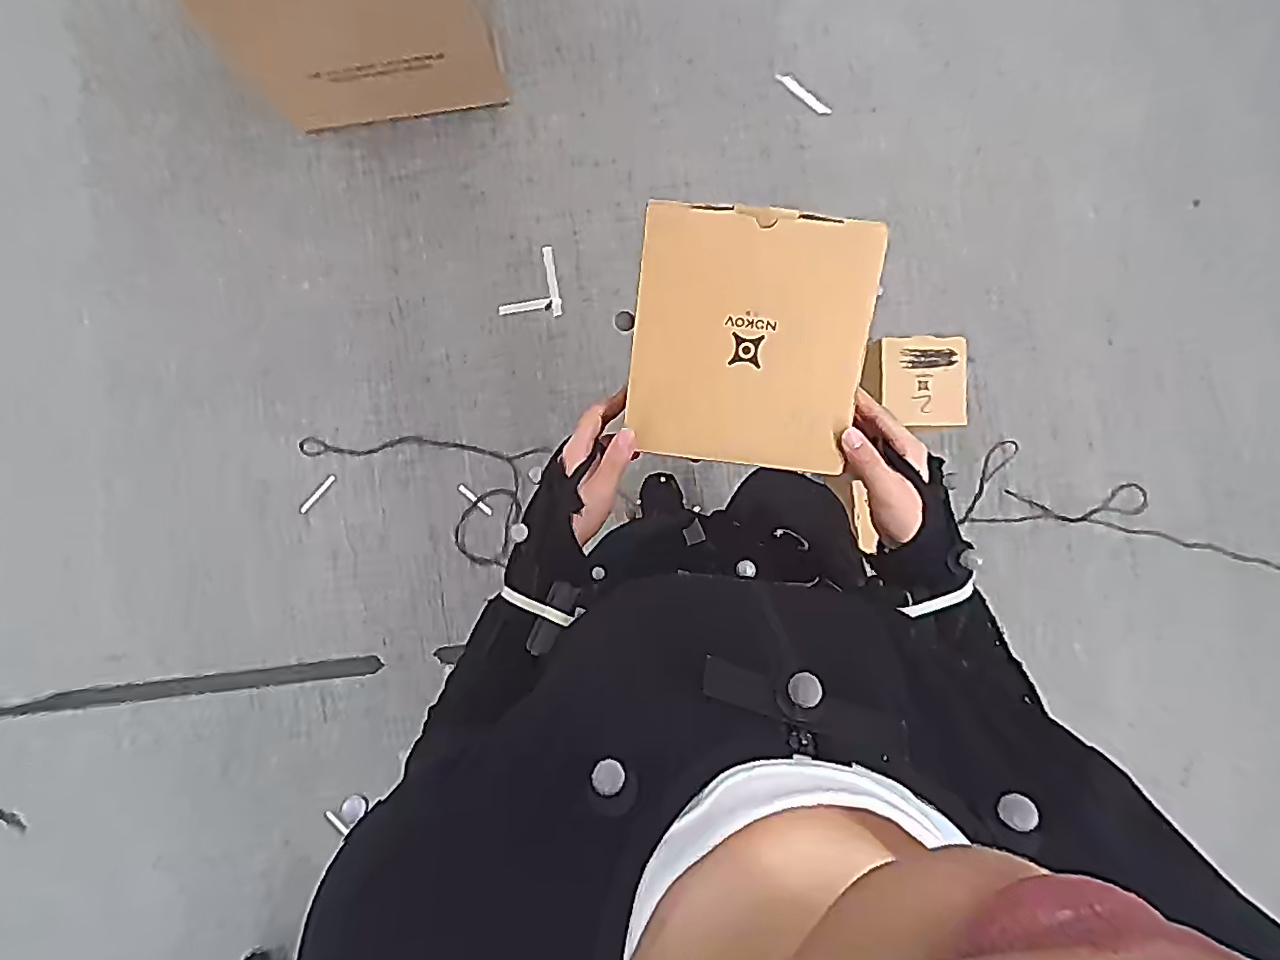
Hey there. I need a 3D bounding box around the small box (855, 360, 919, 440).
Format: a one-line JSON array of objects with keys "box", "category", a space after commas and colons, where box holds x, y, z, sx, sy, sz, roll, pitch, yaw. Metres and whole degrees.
[{"box": [0.534, -0.186, 1.284, 0.179, 0.176, 0.168, 0, 89, 0], "category": "small box"}]

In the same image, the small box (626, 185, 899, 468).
[{"box": [0.085, -0.118, 0.450, 0.168, 0.176, 0.179, 6, 102, 2], "category": "small box"}]

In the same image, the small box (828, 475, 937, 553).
[{"box": [0.568, 0.077, 1.283, 0.179, 0.176, 0.168, -5, 88, -1], "category": "small box"}]
